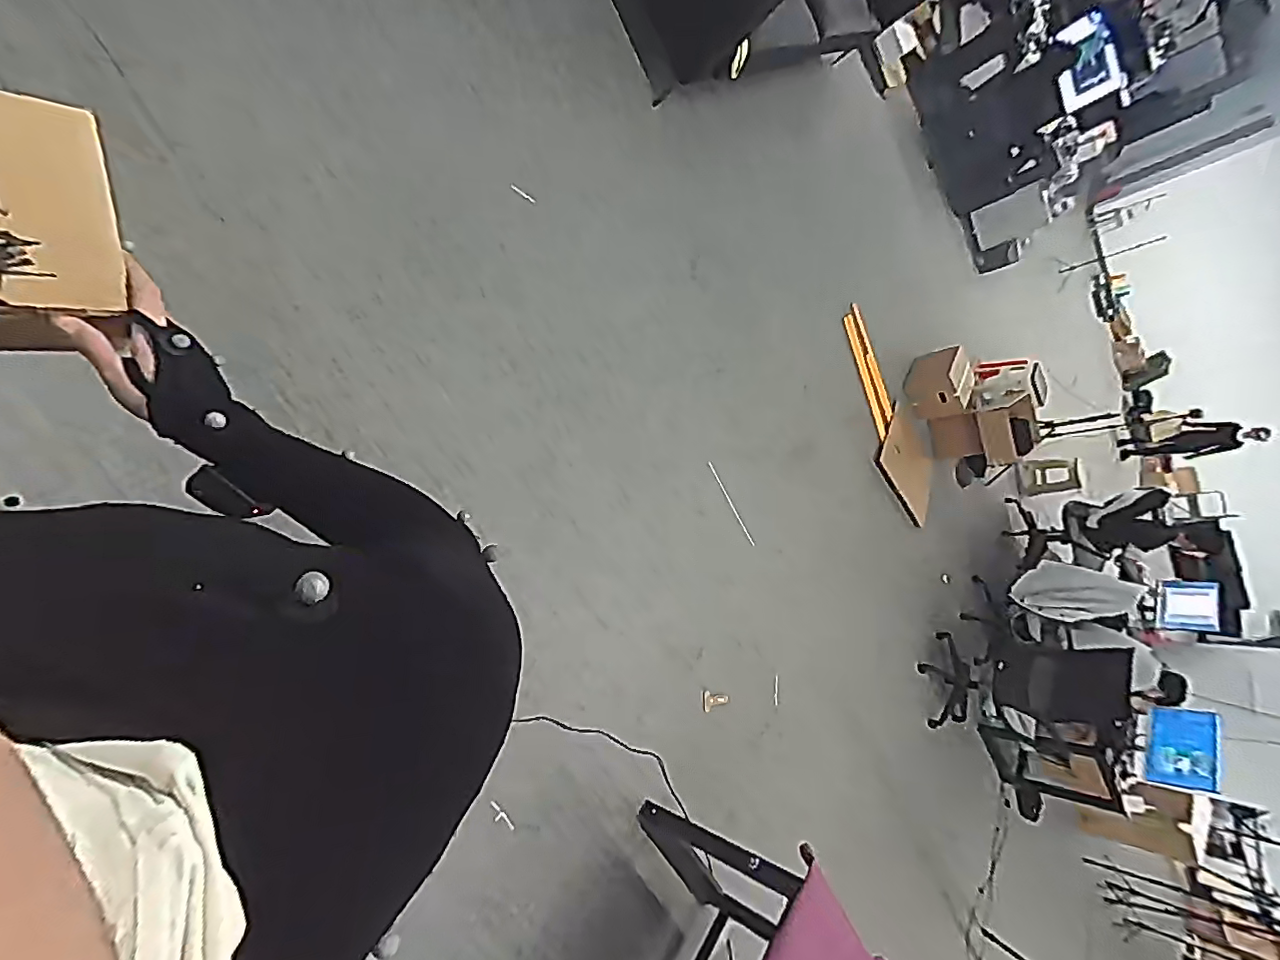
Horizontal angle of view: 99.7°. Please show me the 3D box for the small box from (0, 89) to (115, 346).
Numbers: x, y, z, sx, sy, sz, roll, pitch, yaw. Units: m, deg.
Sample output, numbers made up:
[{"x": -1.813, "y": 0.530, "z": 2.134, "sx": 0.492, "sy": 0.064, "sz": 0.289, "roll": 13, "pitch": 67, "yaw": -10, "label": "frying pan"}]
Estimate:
[{"x": -0.583, "y": -0.219, "z": 0.469, "sx": 0.168, "sy": 0.176, "sz": 0.179, "roll": -12, "pitch": 96, "yaw": -44, "label": "small box"}]
